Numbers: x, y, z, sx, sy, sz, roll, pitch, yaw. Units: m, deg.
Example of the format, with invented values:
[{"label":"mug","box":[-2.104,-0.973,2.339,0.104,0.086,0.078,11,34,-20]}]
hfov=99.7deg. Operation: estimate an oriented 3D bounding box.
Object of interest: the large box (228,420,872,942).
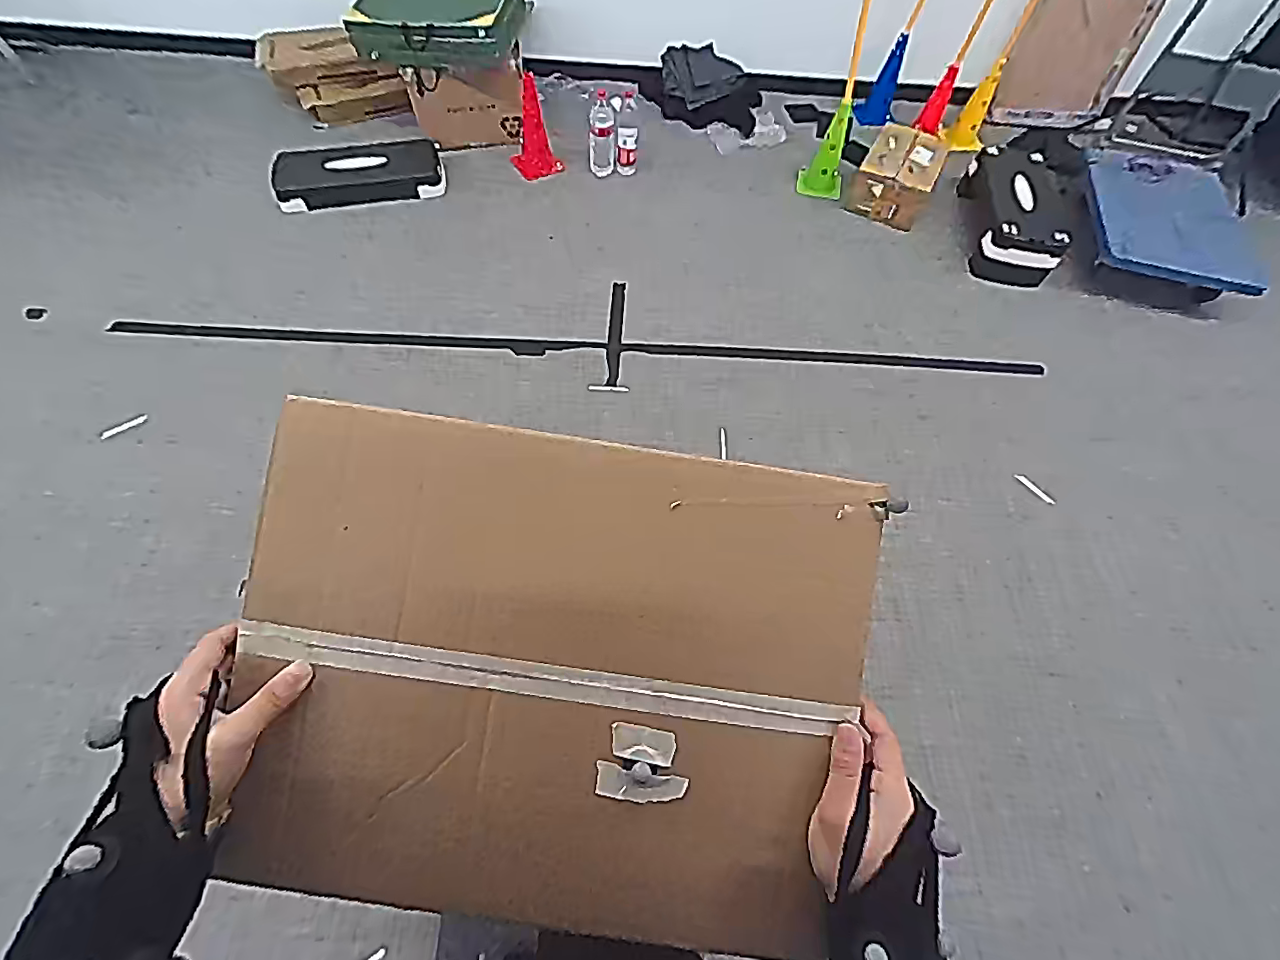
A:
[{"label":"large box","box":[-0.060,0.141,0.511,0.408,0.320,0.320,8,88,-2]}]
